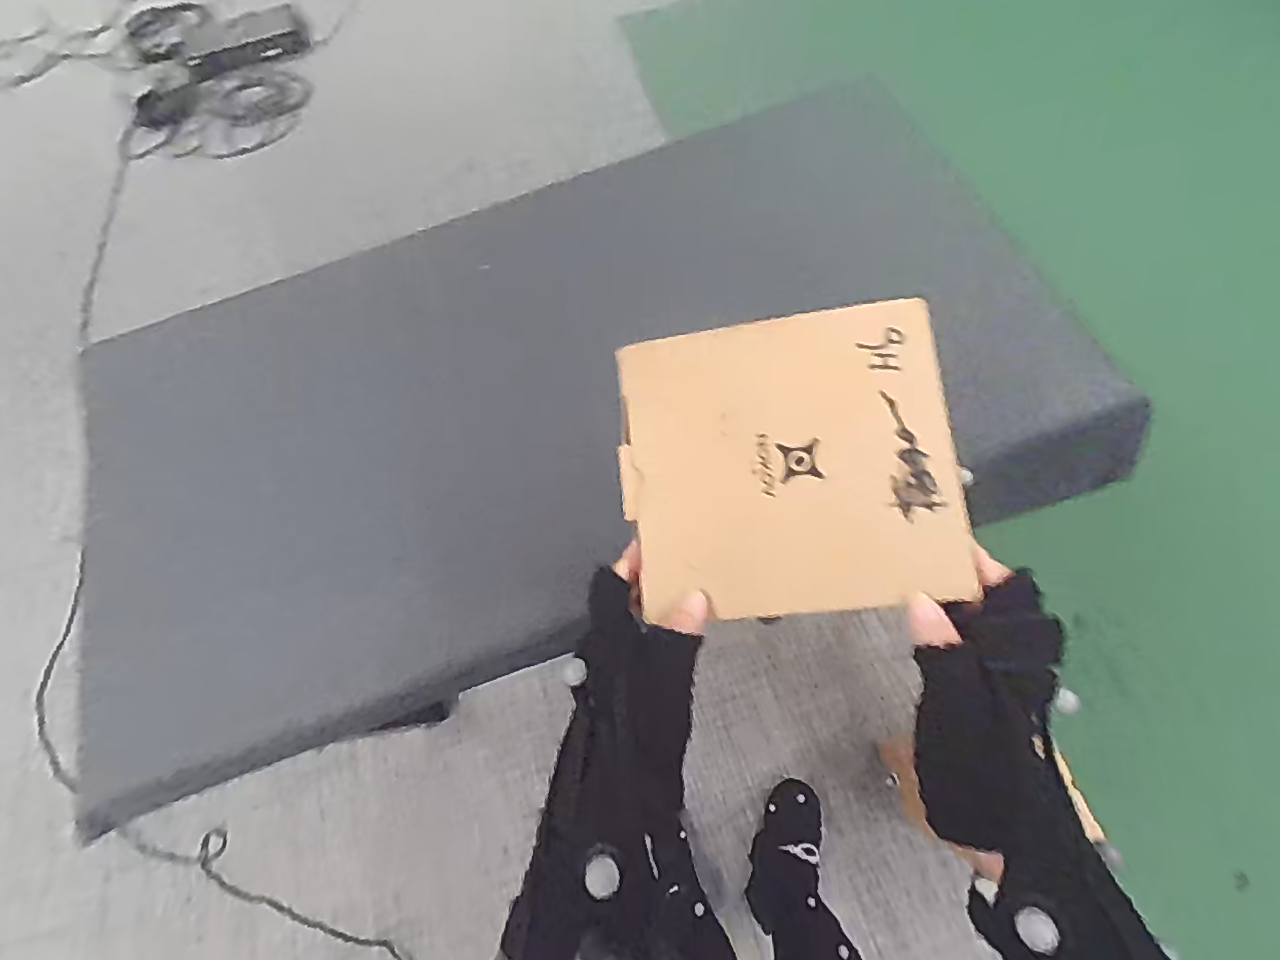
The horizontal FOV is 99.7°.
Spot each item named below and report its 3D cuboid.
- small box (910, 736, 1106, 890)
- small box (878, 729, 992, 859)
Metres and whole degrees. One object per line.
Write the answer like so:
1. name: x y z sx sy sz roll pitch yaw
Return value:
1. small box: 0.583 0.530 0.887 0.179 0.176 0.168 -15 67 0
2. small box: 0.594 0.591 1.040 0.179 0.176 0.168 -17 67 0
